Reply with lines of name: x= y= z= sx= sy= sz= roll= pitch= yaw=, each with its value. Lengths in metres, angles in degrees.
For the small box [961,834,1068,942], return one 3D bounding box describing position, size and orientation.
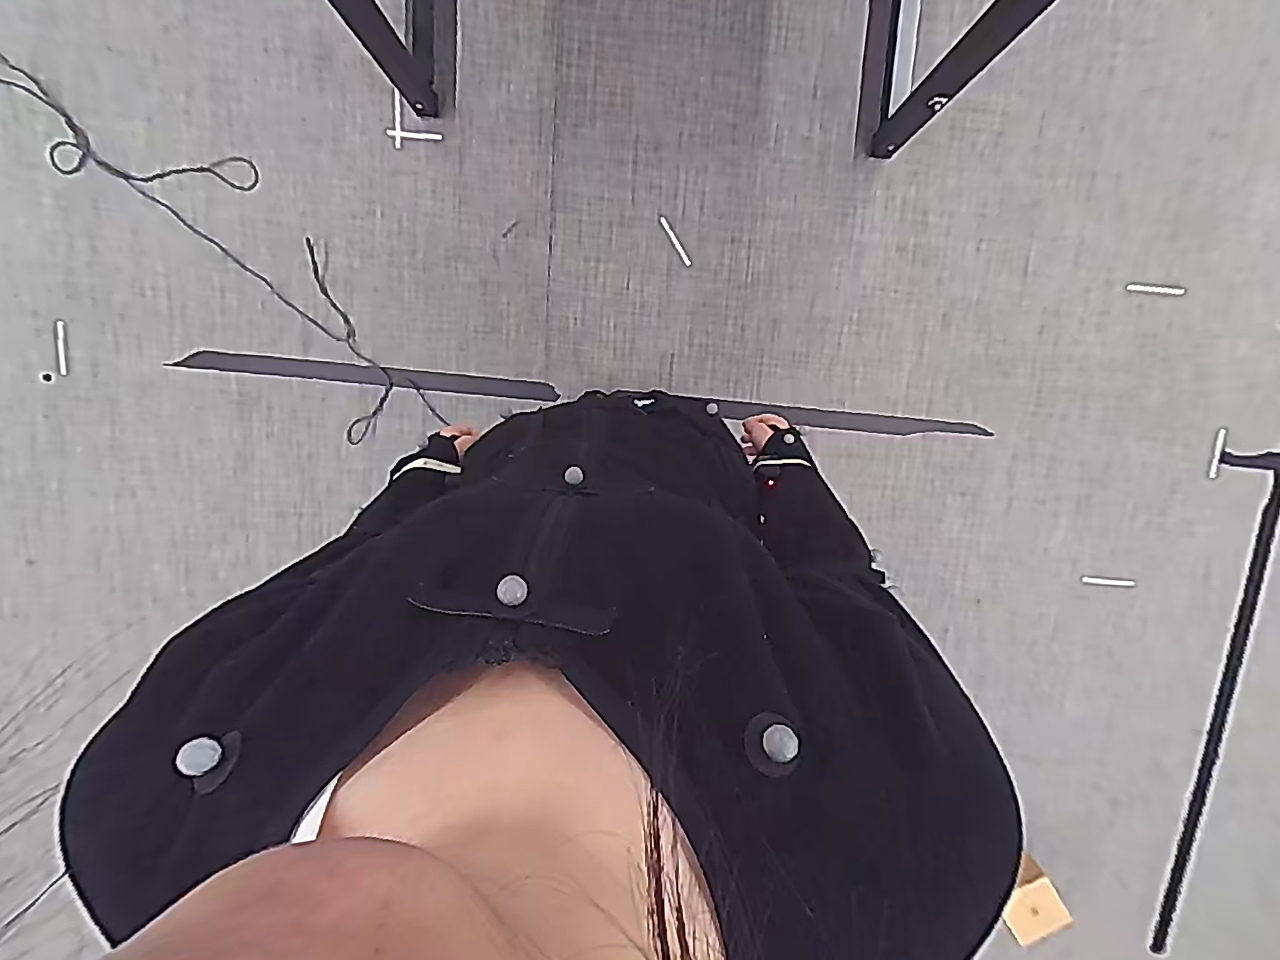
small box: x=1.104 y=1.200 z=1.611 sx=0.168 sy=0.176 sz=0.179 roll=-33 pitch=99 yaw=5
